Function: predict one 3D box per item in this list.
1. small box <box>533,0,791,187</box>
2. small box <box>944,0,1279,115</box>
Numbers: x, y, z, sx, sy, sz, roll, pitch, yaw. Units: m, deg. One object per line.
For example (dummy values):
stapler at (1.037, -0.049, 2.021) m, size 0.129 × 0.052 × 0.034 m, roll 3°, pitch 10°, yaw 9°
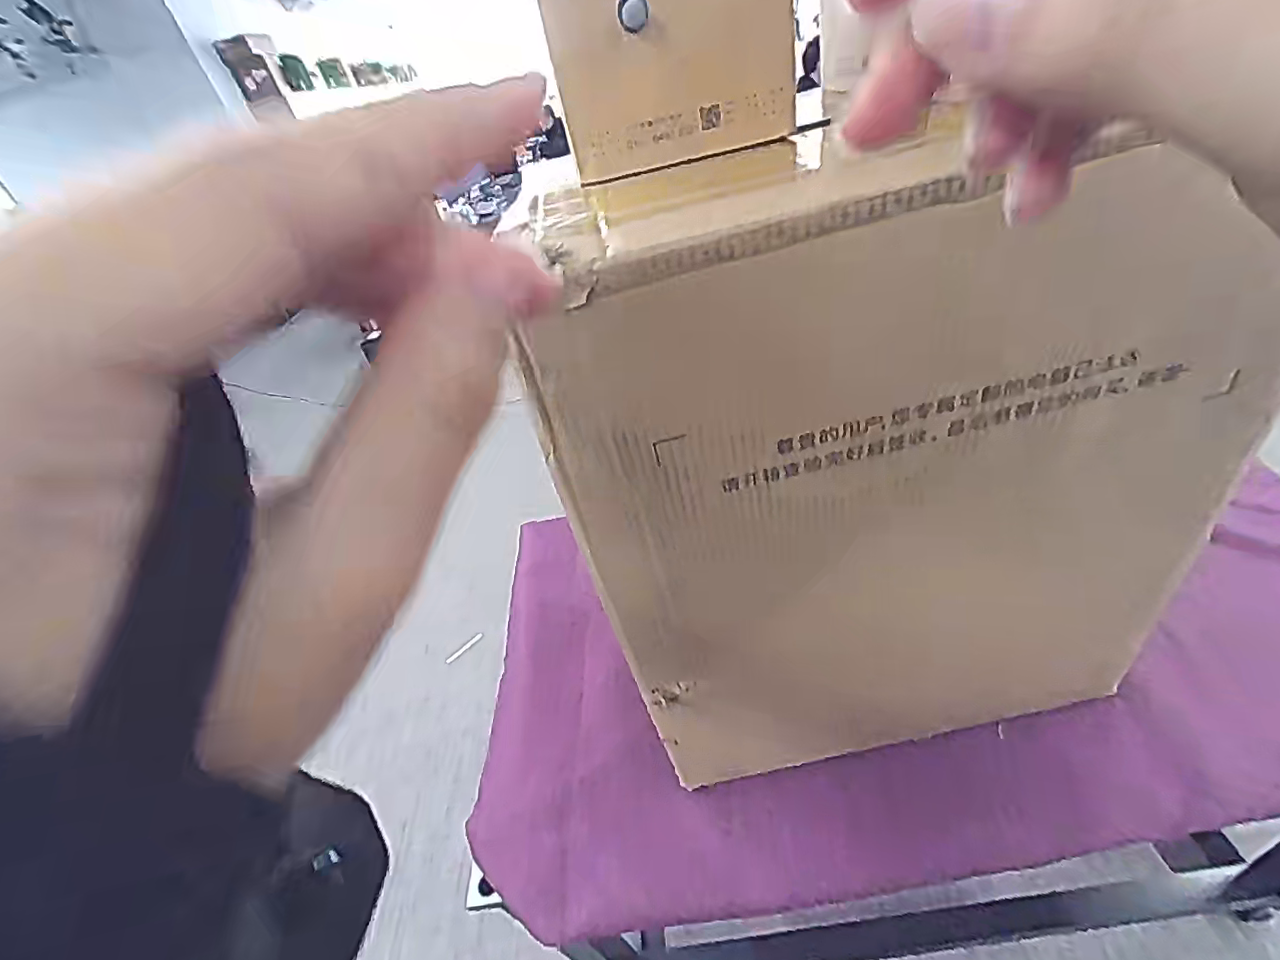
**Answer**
small box at (0.015, -0.346, 0.423) m, size 0.168 × 0.176 × 0.179 m, roll -11°, pitch 37°, yaw 5°
small box at (0.283, -0.309, 0.277) m, size 0.179 × 0.176 × 0.168 m, roll -16°, pitch 38°, yaw 2°
